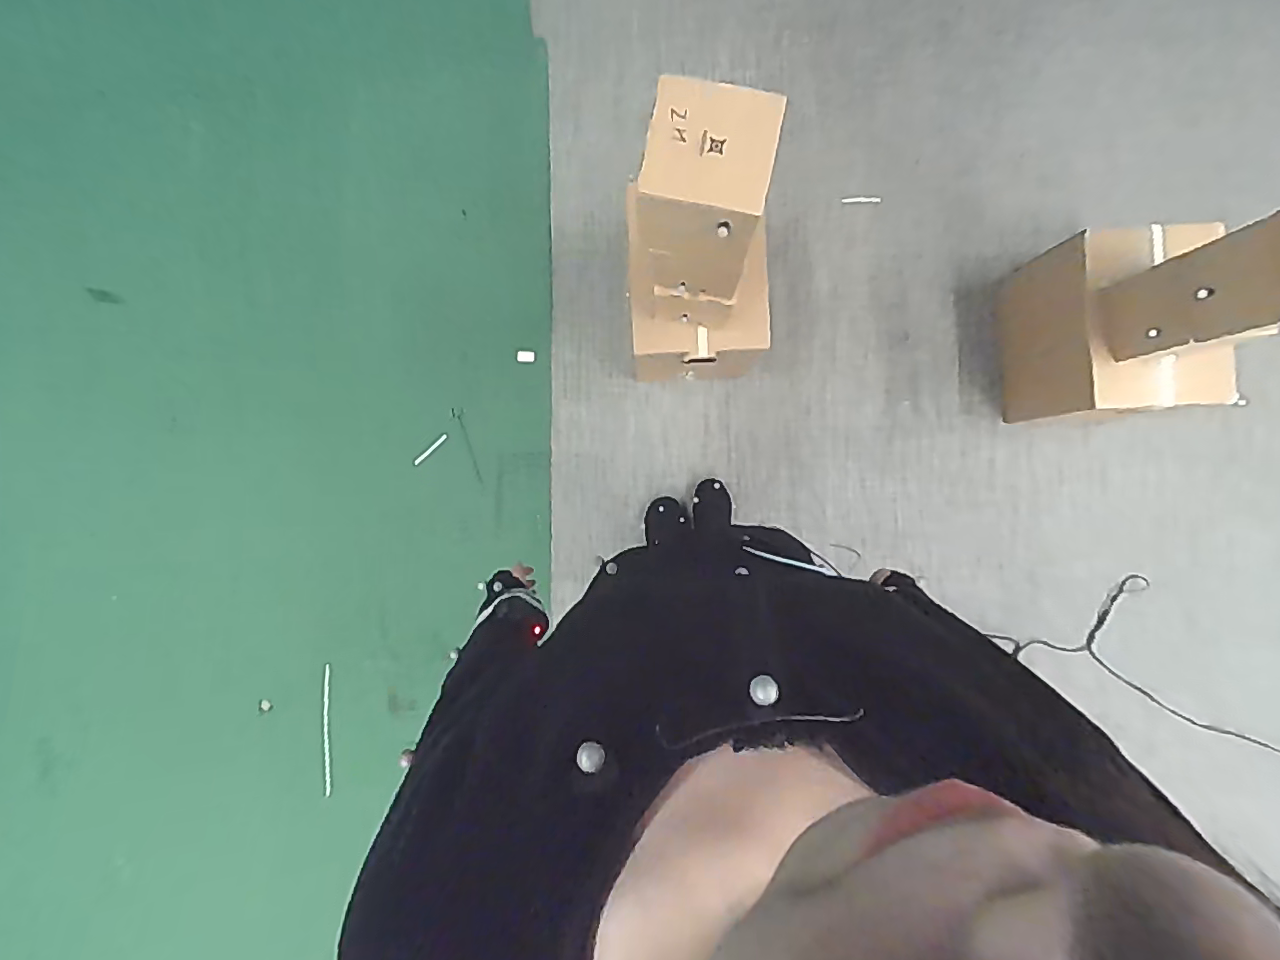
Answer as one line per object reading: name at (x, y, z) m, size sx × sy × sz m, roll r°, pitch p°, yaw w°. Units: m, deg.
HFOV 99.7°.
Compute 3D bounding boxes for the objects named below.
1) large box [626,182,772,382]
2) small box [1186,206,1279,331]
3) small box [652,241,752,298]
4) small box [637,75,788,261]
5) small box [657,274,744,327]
large box at (0.139, -0.487, 1.374) m, size 0.320 × 0.320 × 0.408 m, roll -3°, pitch 88°, yaw 2°
small box at (1.117, -0.369, 0.937) m, size 0.168 × 0.176 × 0.179 m, roll -11°, pitch 90°, yaw 3°
small box at (0.116, -0.450, 0.968) m, size 0.168 × 0.176 × 0.179 m, roll 11°, pitch 91°, yaw 3°
small box at (0.101, -0.448, 0.804) m, size 0.179 × 0.176 × 0.168 m, roll 12°, pitch 90°, yaw 3°
small box at (0.127, -0.439, 1.131) m, size 0.168 × 0.176 × 0.179 m, roll 8°, pitch 90°, yaw 2°
